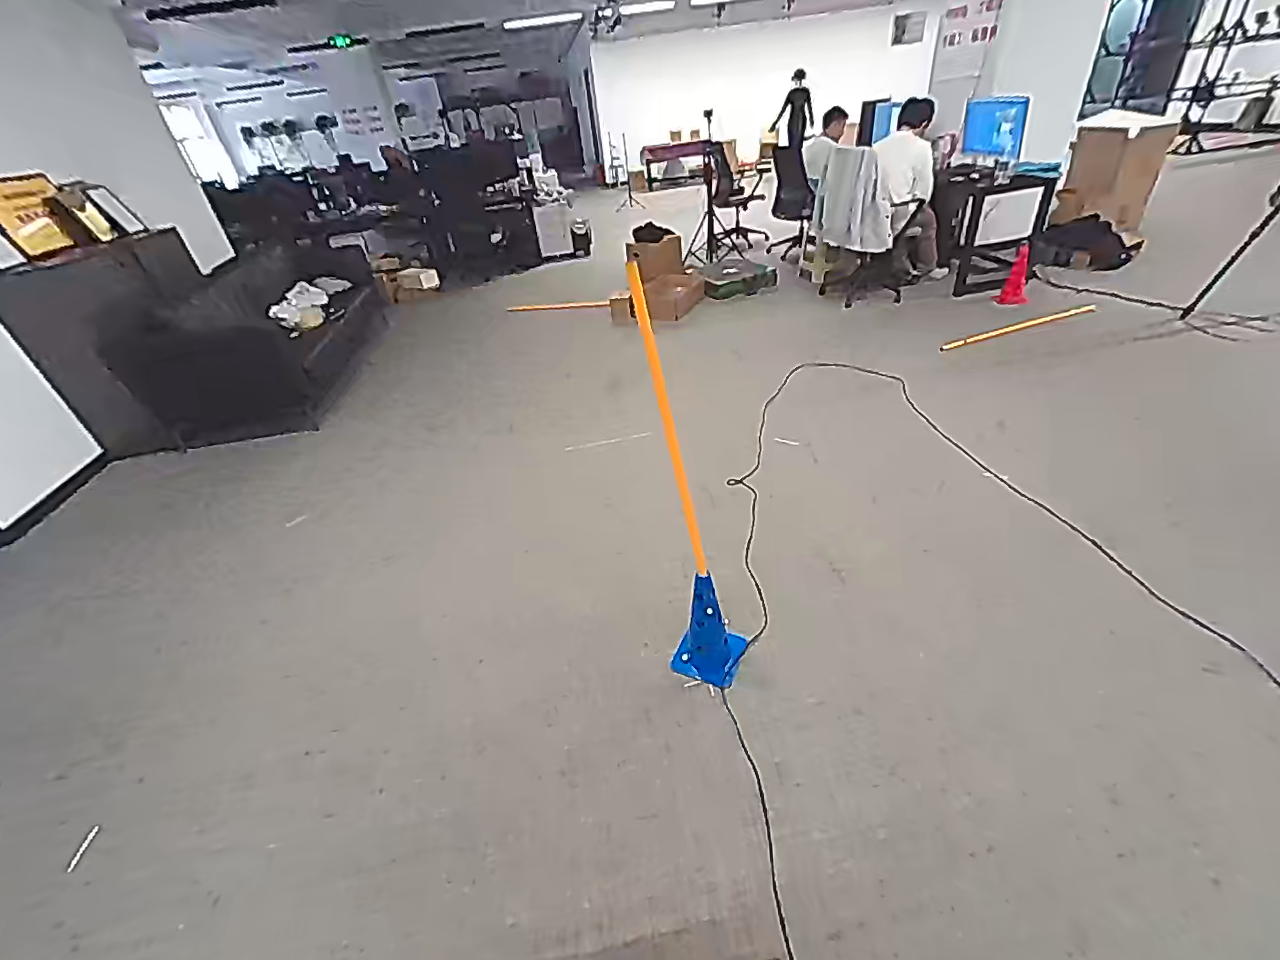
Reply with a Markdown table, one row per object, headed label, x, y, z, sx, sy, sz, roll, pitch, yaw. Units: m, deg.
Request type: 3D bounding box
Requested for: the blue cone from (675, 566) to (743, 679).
| label | x | y | z | sx | sy | sz | roll | pitch | yaw |
| --- | --- | --- | --- | --- | --- | --- | --- | --- | --- |
| blue cone | 0.196 | 0.403 | 1.609 | 0.192 | 0.380 | 0.193 | 8 | 39 | 24 |
